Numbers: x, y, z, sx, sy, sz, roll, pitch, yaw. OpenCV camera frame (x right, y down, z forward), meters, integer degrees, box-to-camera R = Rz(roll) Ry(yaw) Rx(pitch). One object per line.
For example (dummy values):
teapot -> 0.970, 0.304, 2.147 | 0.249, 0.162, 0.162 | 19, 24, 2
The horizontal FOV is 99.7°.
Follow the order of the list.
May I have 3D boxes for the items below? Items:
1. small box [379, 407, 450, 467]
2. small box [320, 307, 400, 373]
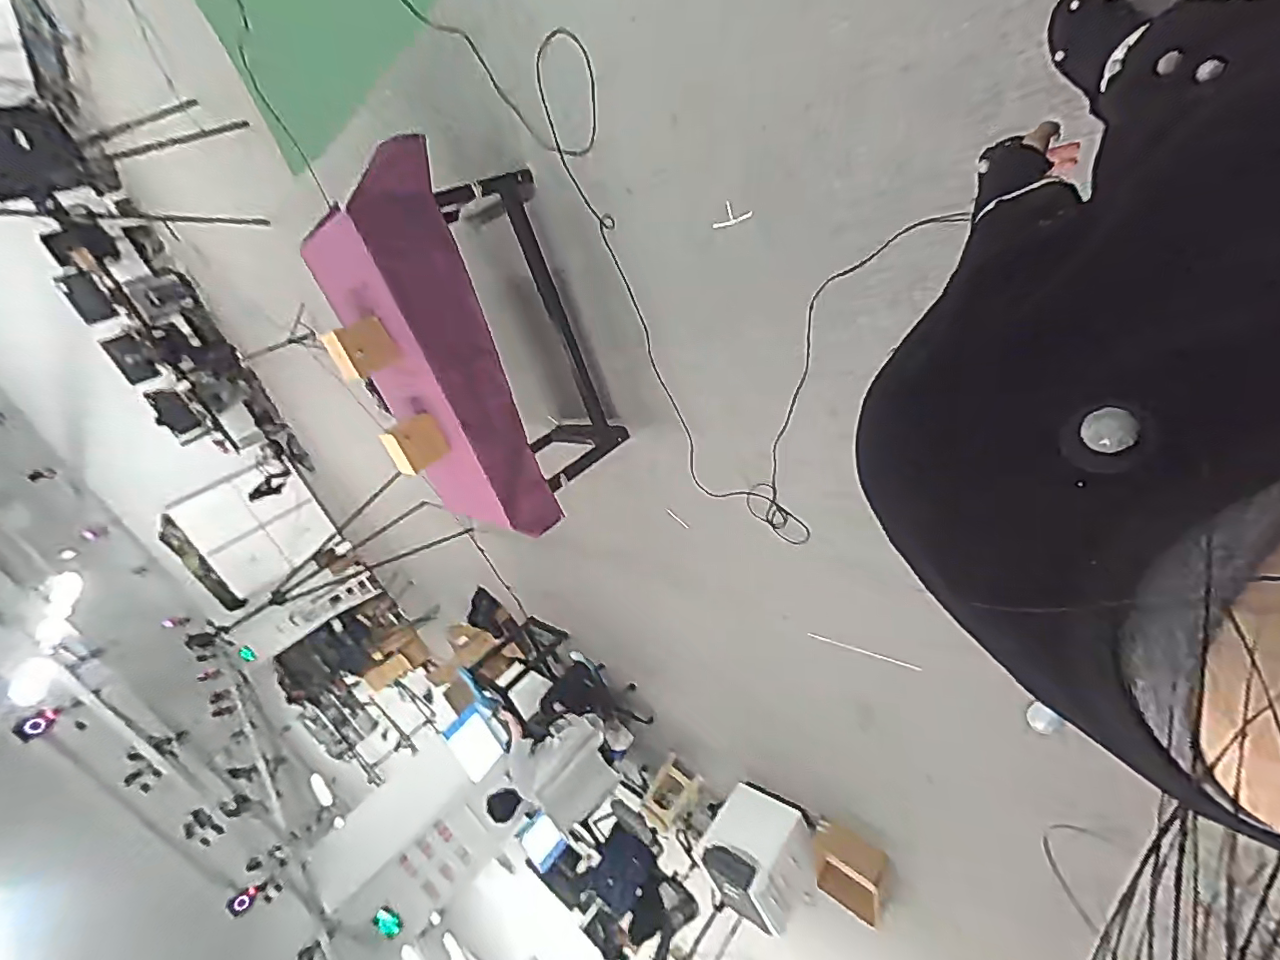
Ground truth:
small box -> -0.875, -0.170, 2.110 | 0.168, 0.176, 0.179 | 6, 125, 47
small box -> -0.999, -0.501, 1.939 | 0.168, 0.176, 0.179 | 8, 127, 45
